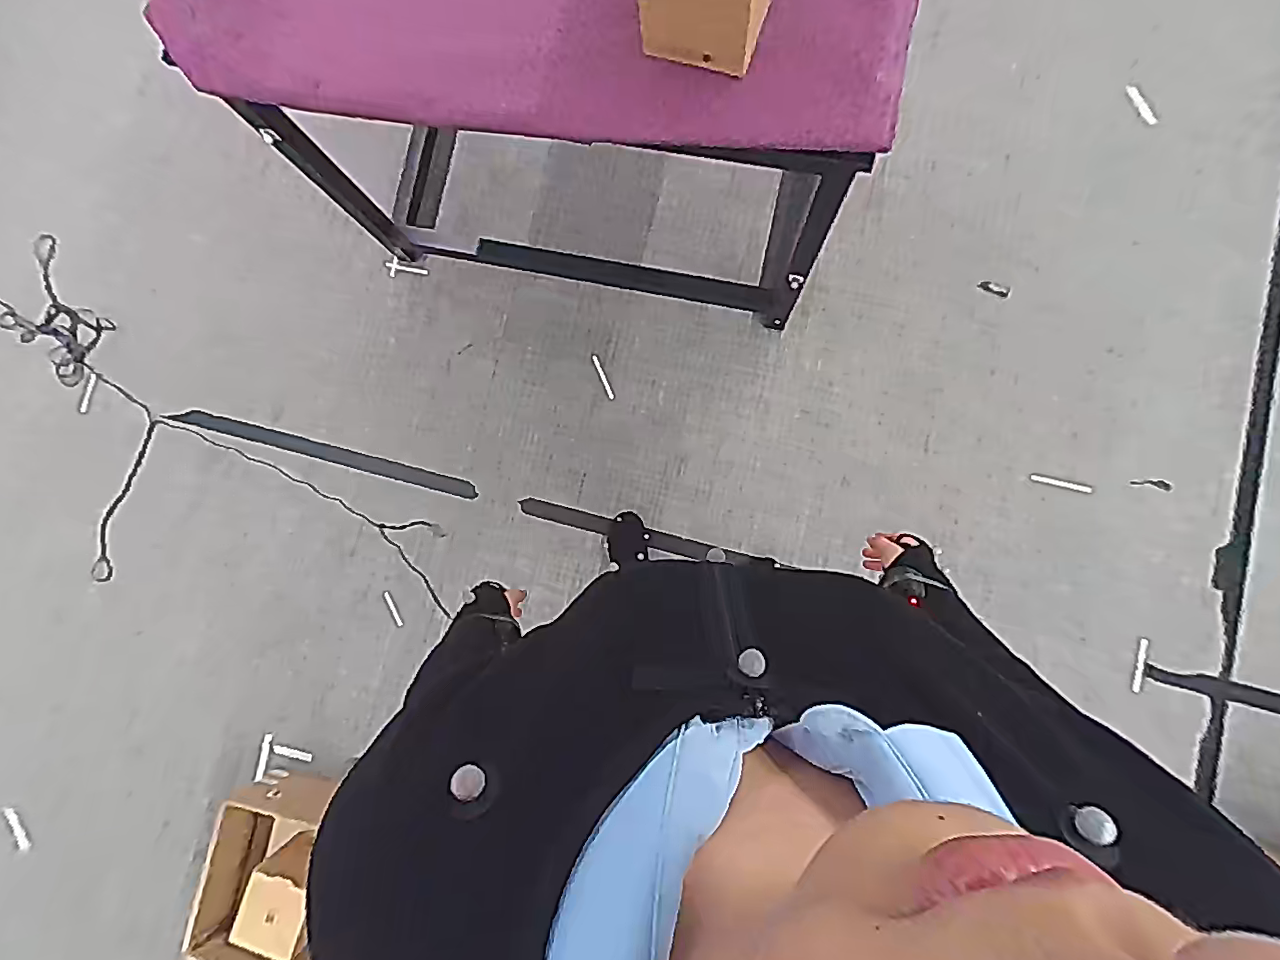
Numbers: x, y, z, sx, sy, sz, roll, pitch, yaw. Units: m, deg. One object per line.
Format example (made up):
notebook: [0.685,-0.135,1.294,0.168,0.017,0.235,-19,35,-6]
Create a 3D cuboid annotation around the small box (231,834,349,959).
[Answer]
small box: [-0.888,1.067,1.390,0.168,0.176,0.179,18,86,5]
